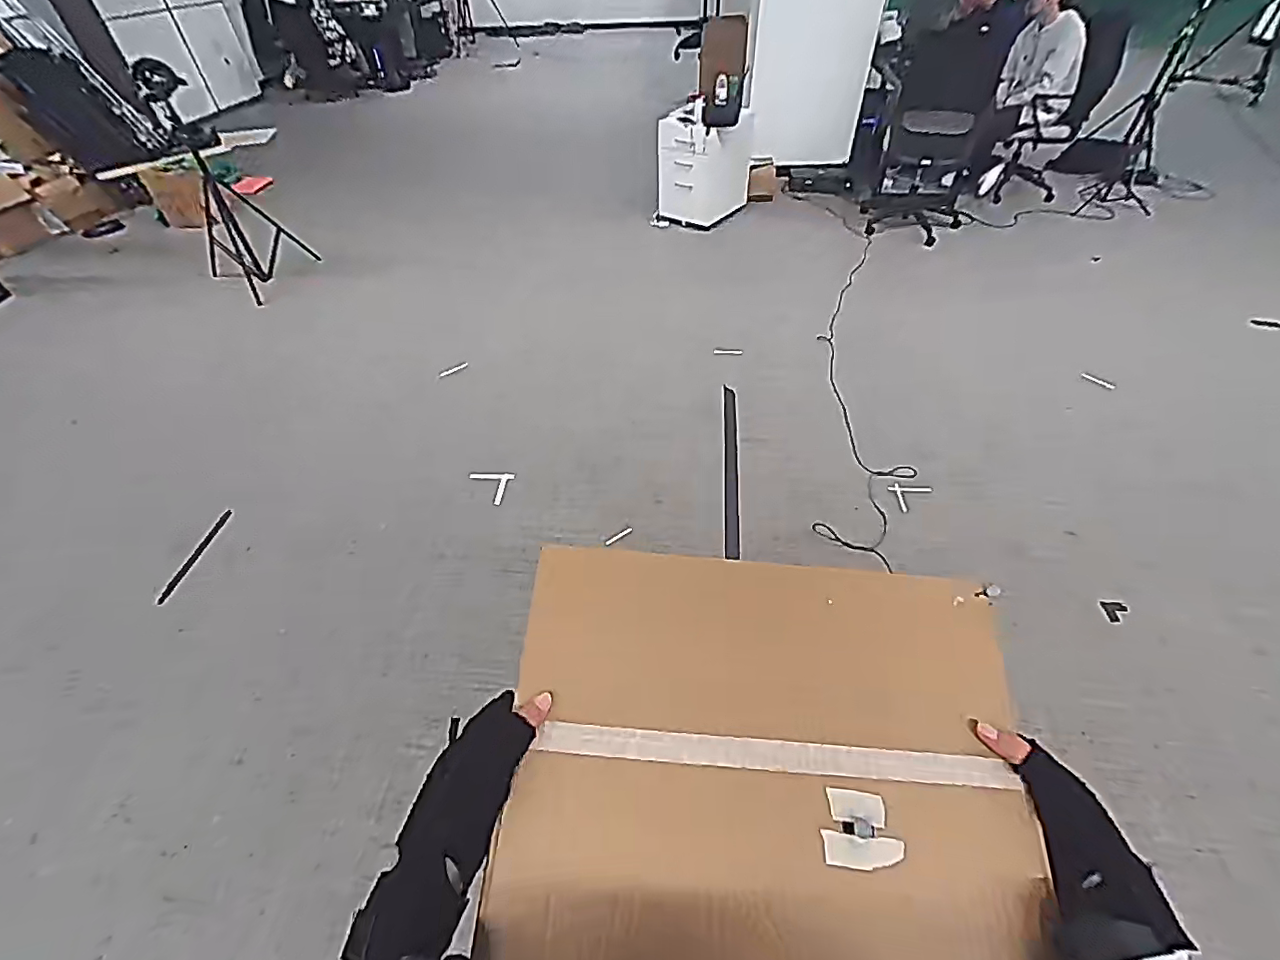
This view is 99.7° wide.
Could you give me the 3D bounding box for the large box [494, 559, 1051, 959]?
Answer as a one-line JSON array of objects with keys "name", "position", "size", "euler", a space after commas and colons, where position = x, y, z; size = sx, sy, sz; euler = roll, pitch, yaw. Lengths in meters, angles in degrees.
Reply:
[{"name": "large box", "position": [0.098, 0.292, 0.574], "size": [0.408, 0.320, 0.320], "euler": [5, 63, 1]}]
